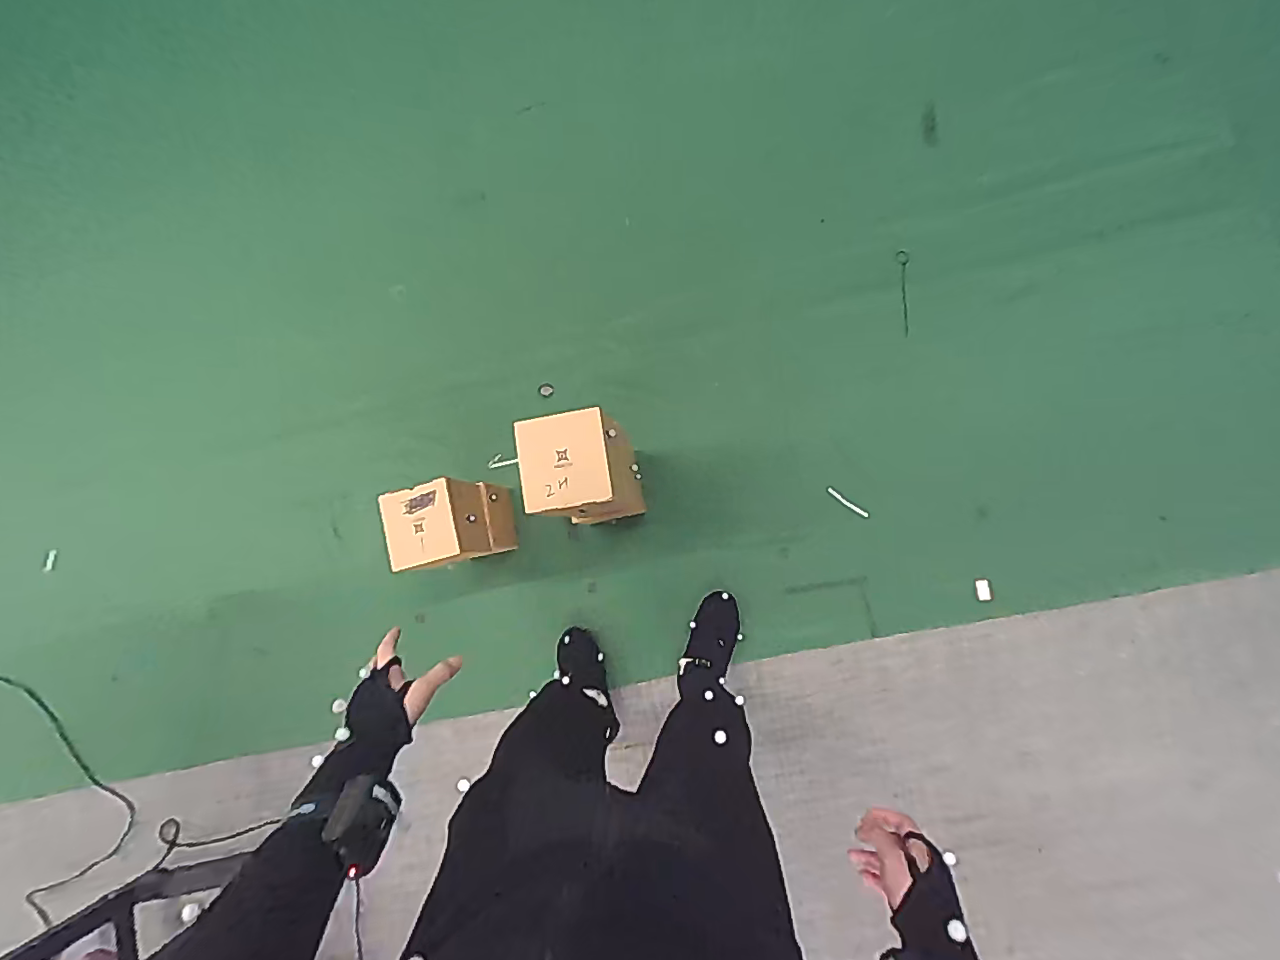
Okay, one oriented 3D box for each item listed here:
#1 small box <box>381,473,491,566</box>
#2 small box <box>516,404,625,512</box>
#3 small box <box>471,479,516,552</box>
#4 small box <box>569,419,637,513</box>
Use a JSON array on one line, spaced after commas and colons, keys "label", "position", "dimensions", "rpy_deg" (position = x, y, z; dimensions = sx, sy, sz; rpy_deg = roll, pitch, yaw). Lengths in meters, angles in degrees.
[{"label": "small box", "position": [-0.470, 0.095, 1.262], "dimensions": [0.168, 0.176, 0.179], "rpy_deg": [-15, 83, 7]}, {"label": "small box", "position": [-0.130, -0.035, 1.057], "dimensions": [0.168, 0.176, 0.179], "rpy_deg": [-9, 84, 7]}, {"label": "small box", "position": [-0.439, 0.102, 1.423], "dimensions": [0.168, 0.176, 0.179], "rpy_deg": [-12, 82, 7]}, {"label": "small box", "position": [-0.106, -0.025, 1.219], "dimensions": [0.168, 0.176, 0.179], "rpy_deg": [-9, 83, 7]}]
